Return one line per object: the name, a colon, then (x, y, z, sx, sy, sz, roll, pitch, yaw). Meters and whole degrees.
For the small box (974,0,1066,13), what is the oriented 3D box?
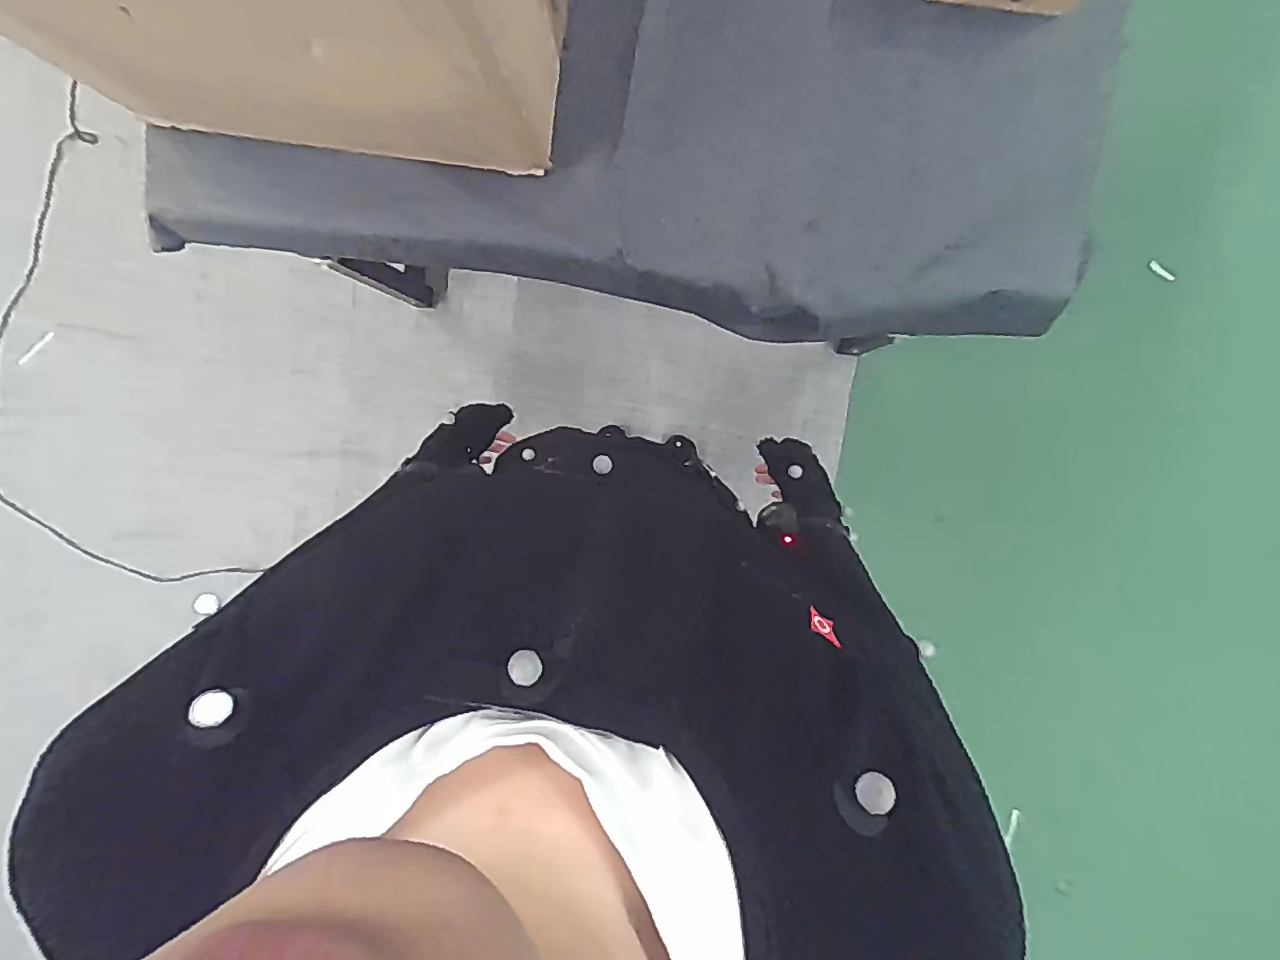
small box: (0.433, -0.647, 0.559, 0.168, 0.176, 0.179, 10, 98, 2)
